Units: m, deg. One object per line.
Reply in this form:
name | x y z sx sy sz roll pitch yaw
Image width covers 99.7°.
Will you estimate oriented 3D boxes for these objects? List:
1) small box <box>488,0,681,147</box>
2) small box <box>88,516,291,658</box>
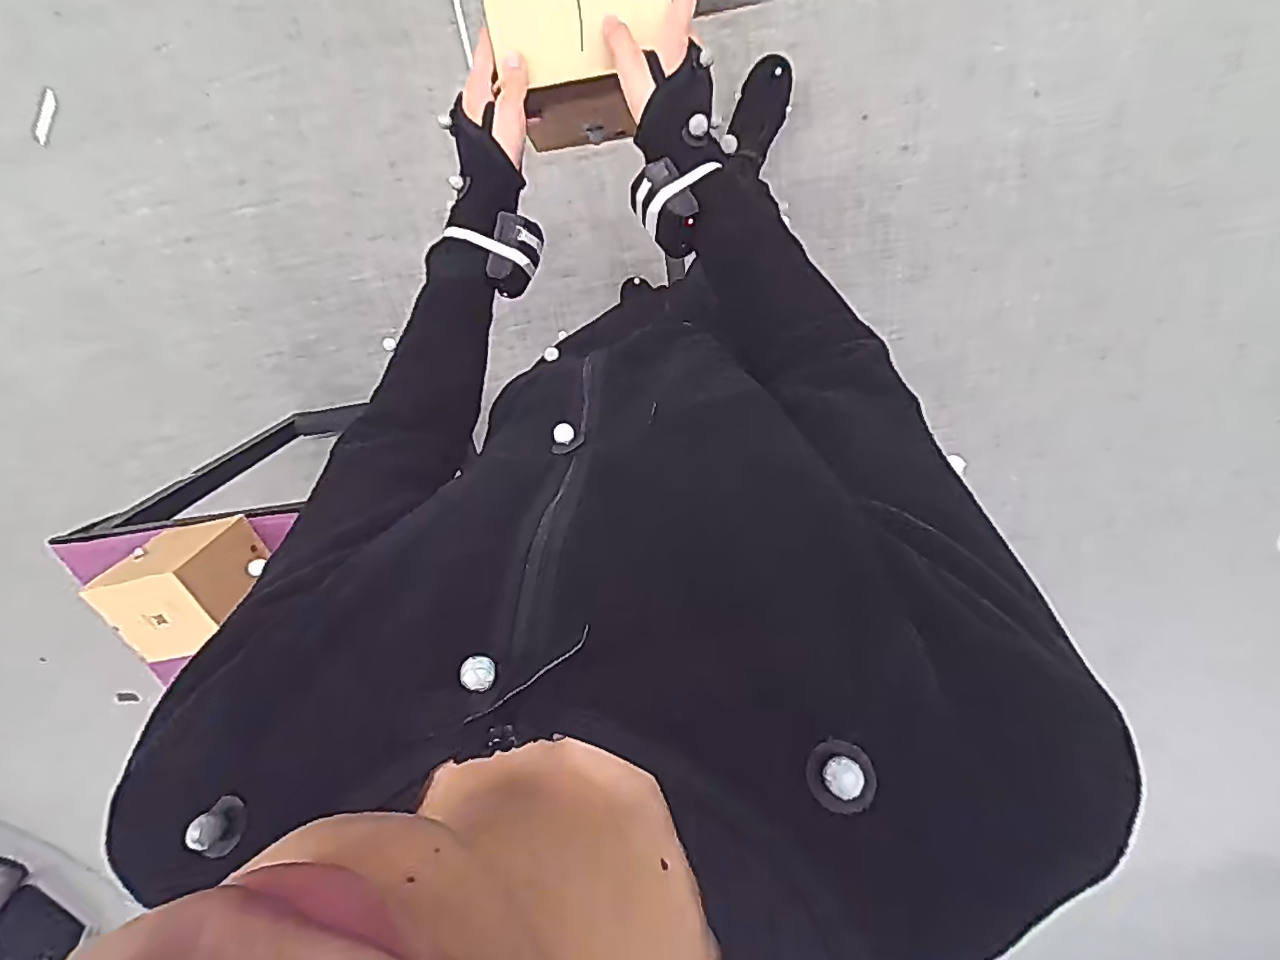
small box | -0.055 -0.468 0.540 0.168 0.176 0.179 -8 105 3
small box | -0.774 0.185 0.952 0.179 0.176 0.168 -11 119 9
